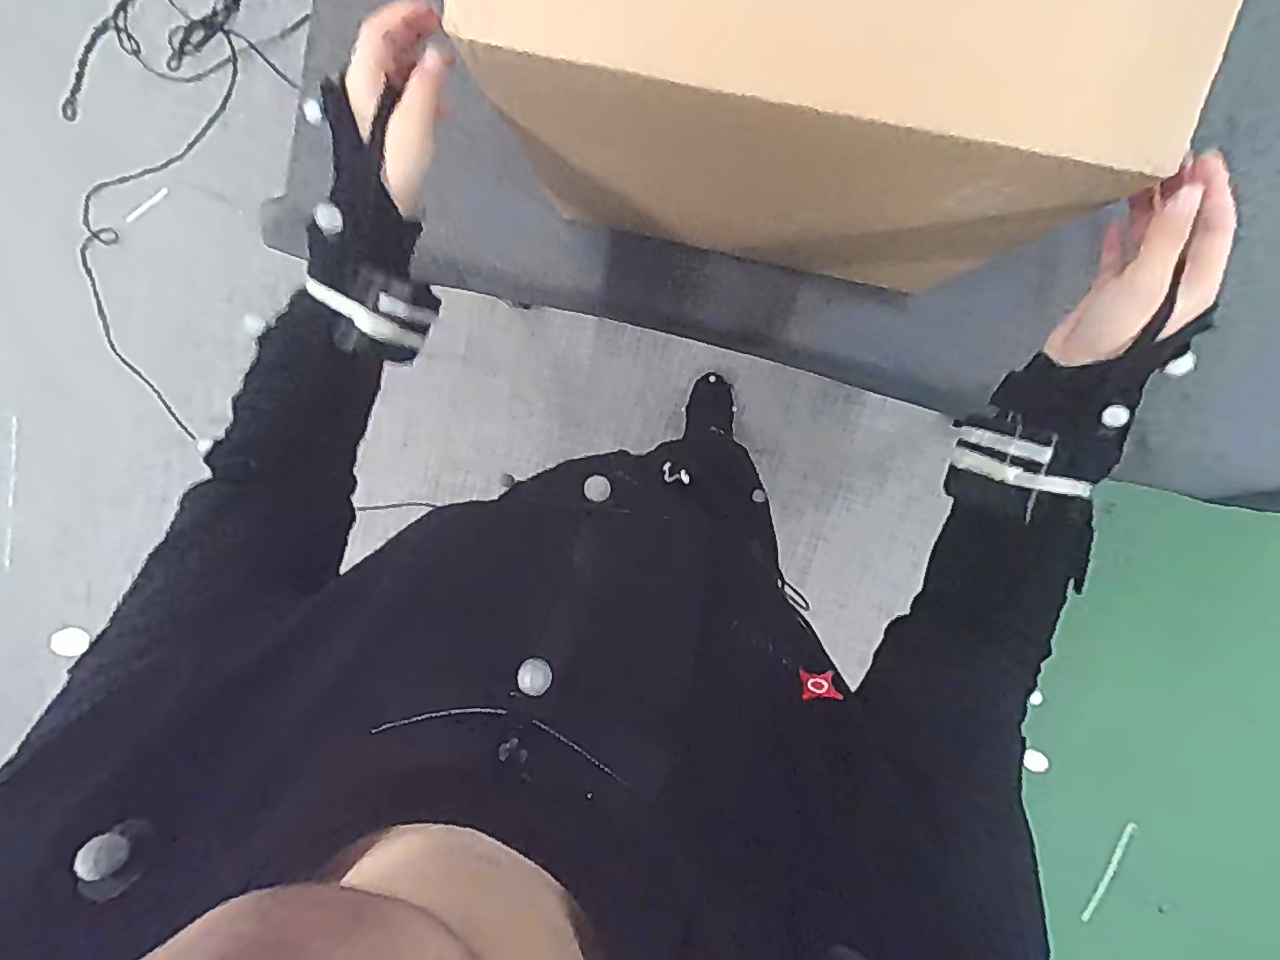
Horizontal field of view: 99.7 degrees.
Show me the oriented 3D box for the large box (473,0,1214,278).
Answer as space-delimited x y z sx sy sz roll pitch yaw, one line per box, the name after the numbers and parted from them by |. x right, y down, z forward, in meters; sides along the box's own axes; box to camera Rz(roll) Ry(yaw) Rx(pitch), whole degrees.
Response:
0.131 -0.384 0.428 0.408 0.320 0.320 12 99 1 | large box
